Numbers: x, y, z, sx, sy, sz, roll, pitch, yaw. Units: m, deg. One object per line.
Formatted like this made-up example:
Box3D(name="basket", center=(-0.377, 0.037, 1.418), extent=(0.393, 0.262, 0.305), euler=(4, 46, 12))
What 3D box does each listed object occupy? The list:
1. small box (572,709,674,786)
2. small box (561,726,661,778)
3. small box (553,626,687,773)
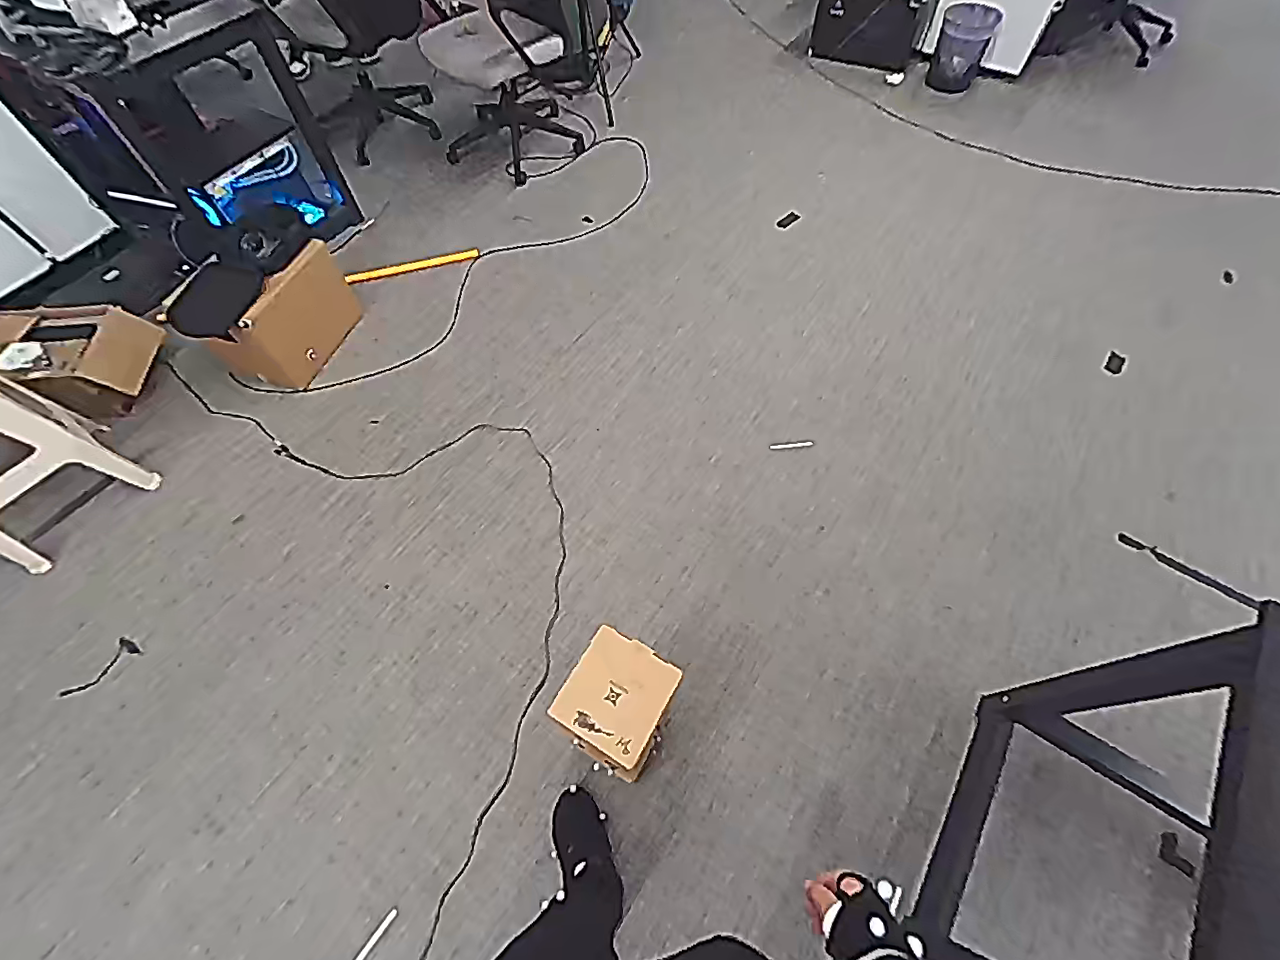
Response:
Box3D(name="small box", center=(-0.038, 0.574, 1.245), extent=(0.168, 0.176, 0.179), euler=(27, 64, 16))
Box3D(name="small box", center=(-0.039, 0.487, 1.109), extent=(0.168, 0.176, 0.179), euler=(24, 61, 13))
Box3D(name="small box", center=(-0.034, 0.397, 0.970), extent=(0.168, 0.176, 0.179), euler=(27, 63, 15))
